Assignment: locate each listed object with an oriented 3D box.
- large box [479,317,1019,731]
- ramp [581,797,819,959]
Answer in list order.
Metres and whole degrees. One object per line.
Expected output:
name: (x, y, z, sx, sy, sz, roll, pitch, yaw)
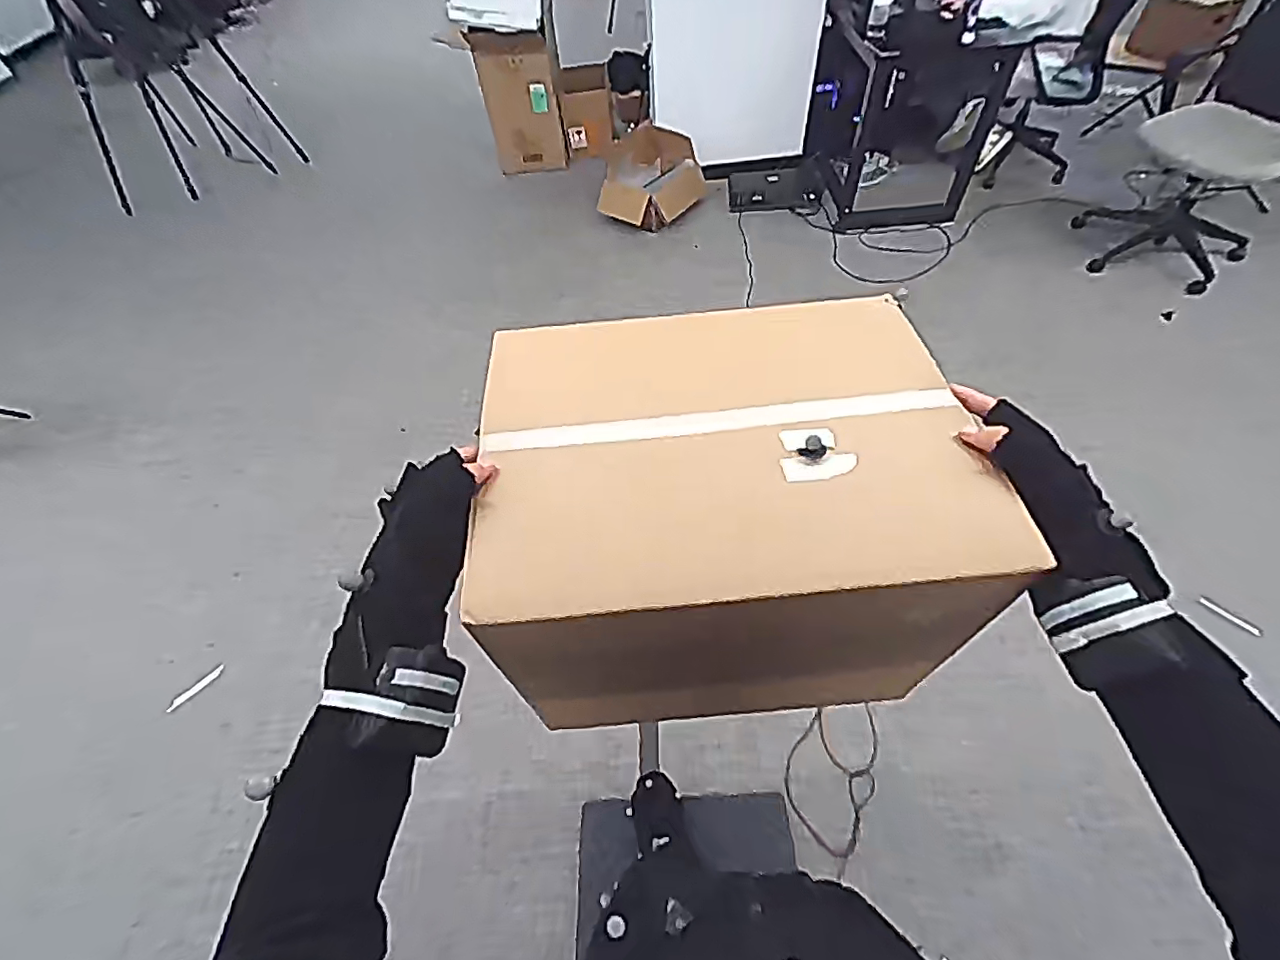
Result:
large box: (0.073, 0.057, 0.594, 0.408, 0.320, 0.320, -5, 53, -1)
ramp: (0.125, 1.132, 0.960, 0.509, 0.206, 0.991, -7, 53, 2)
